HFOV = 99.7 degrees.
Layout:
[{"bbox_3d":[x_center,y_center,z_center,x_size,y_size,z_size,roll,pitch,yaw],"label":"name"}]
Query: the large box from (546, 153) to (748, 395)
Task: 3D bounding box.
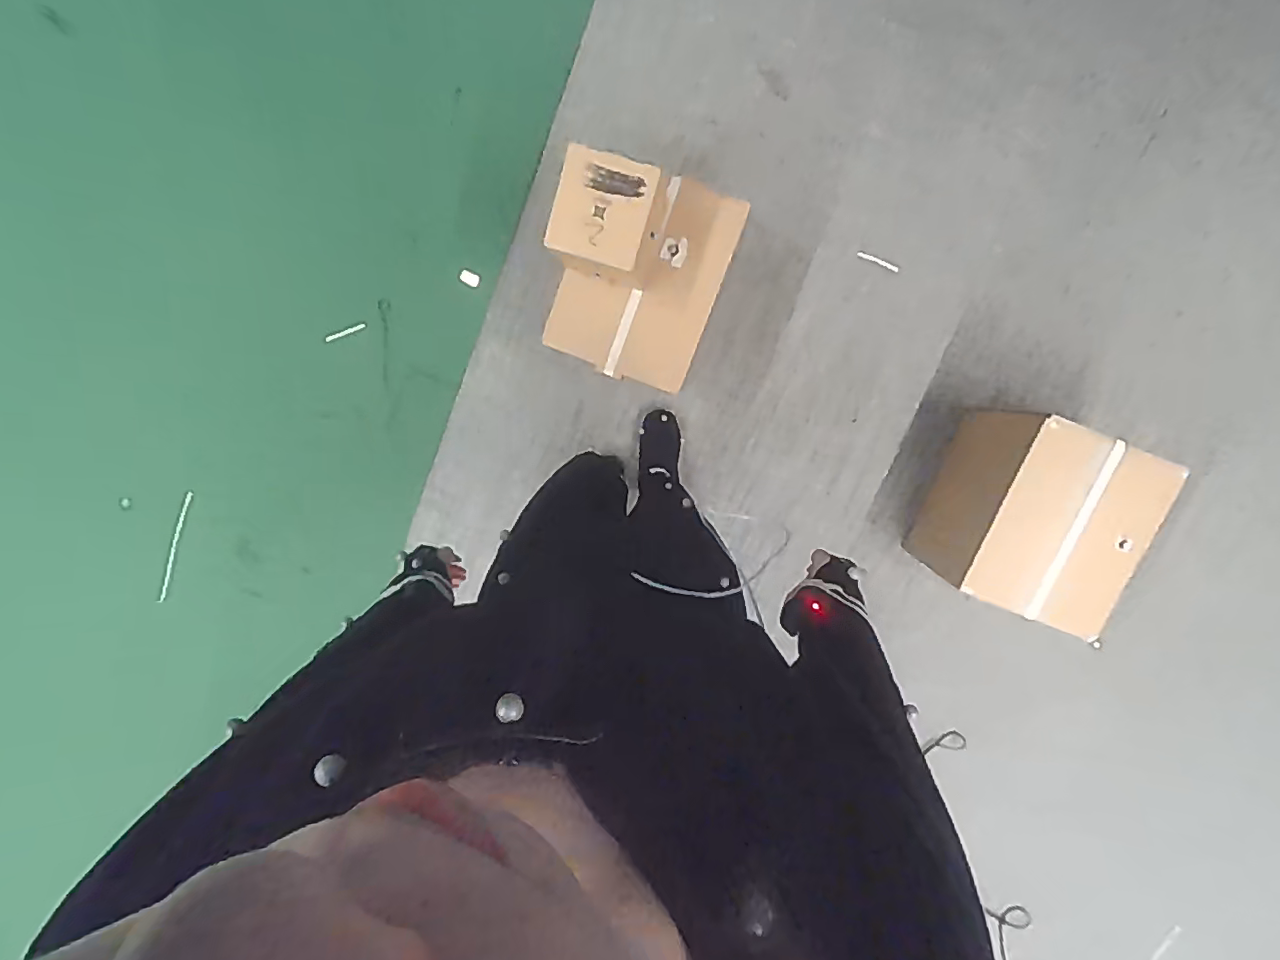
[{"bbox_3d":[0.020,-0.436,1.249,0.320,0.320,0.408,22,100,1],"label":"large box"}]
